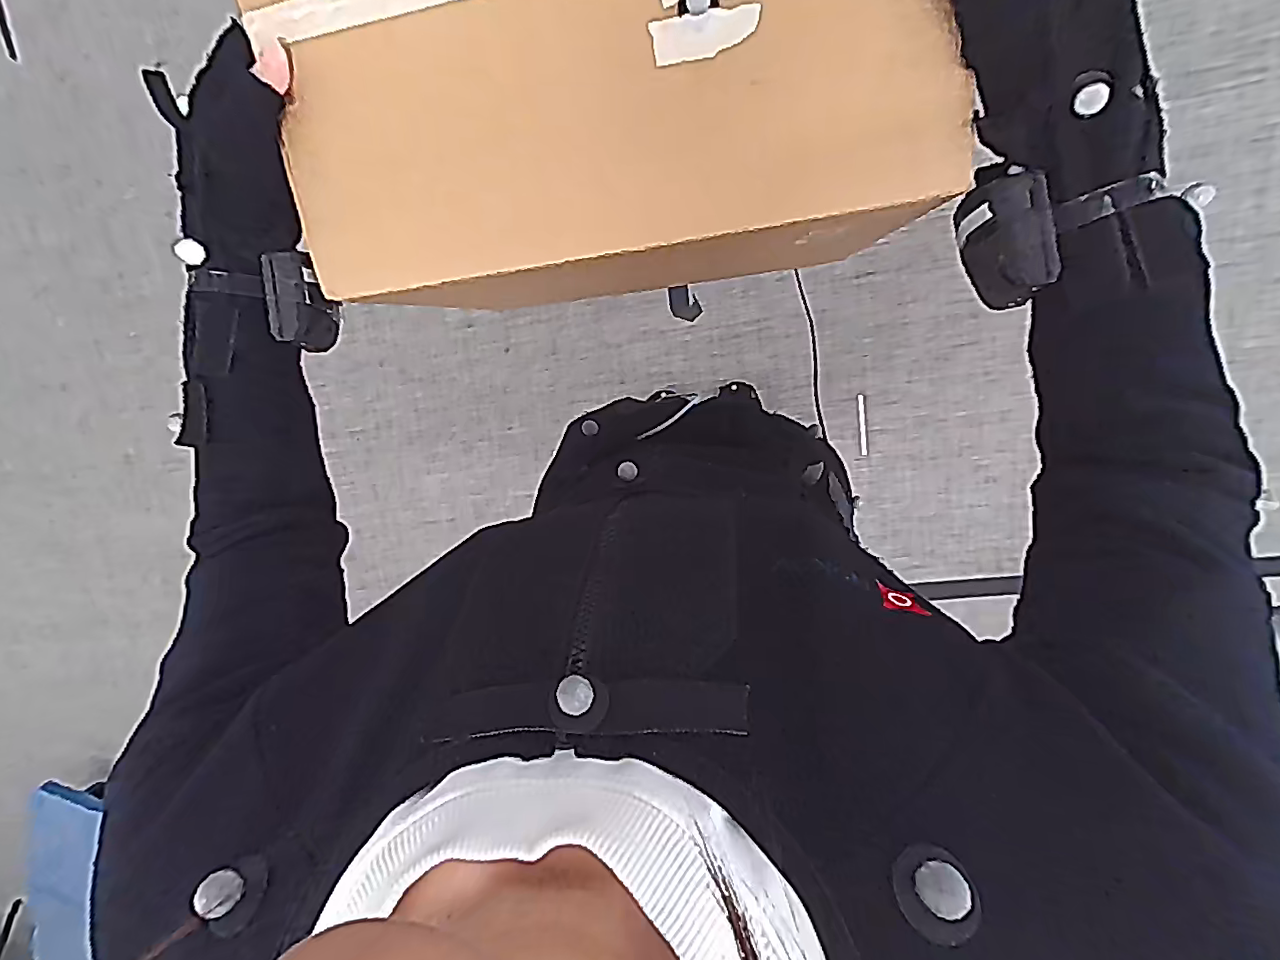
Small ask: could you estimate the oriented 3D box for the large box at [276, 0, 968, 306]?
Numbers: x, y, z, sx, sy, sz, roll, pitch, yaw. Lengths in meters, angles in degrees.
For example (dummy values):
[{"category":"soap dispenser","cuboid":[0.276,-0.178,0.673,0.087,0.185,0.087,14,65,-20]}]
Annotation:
[{"category":"large box","cuboid":[-0.011,-0.339,0.447,0.408,0.320,0.320,-6,106,10]}]
